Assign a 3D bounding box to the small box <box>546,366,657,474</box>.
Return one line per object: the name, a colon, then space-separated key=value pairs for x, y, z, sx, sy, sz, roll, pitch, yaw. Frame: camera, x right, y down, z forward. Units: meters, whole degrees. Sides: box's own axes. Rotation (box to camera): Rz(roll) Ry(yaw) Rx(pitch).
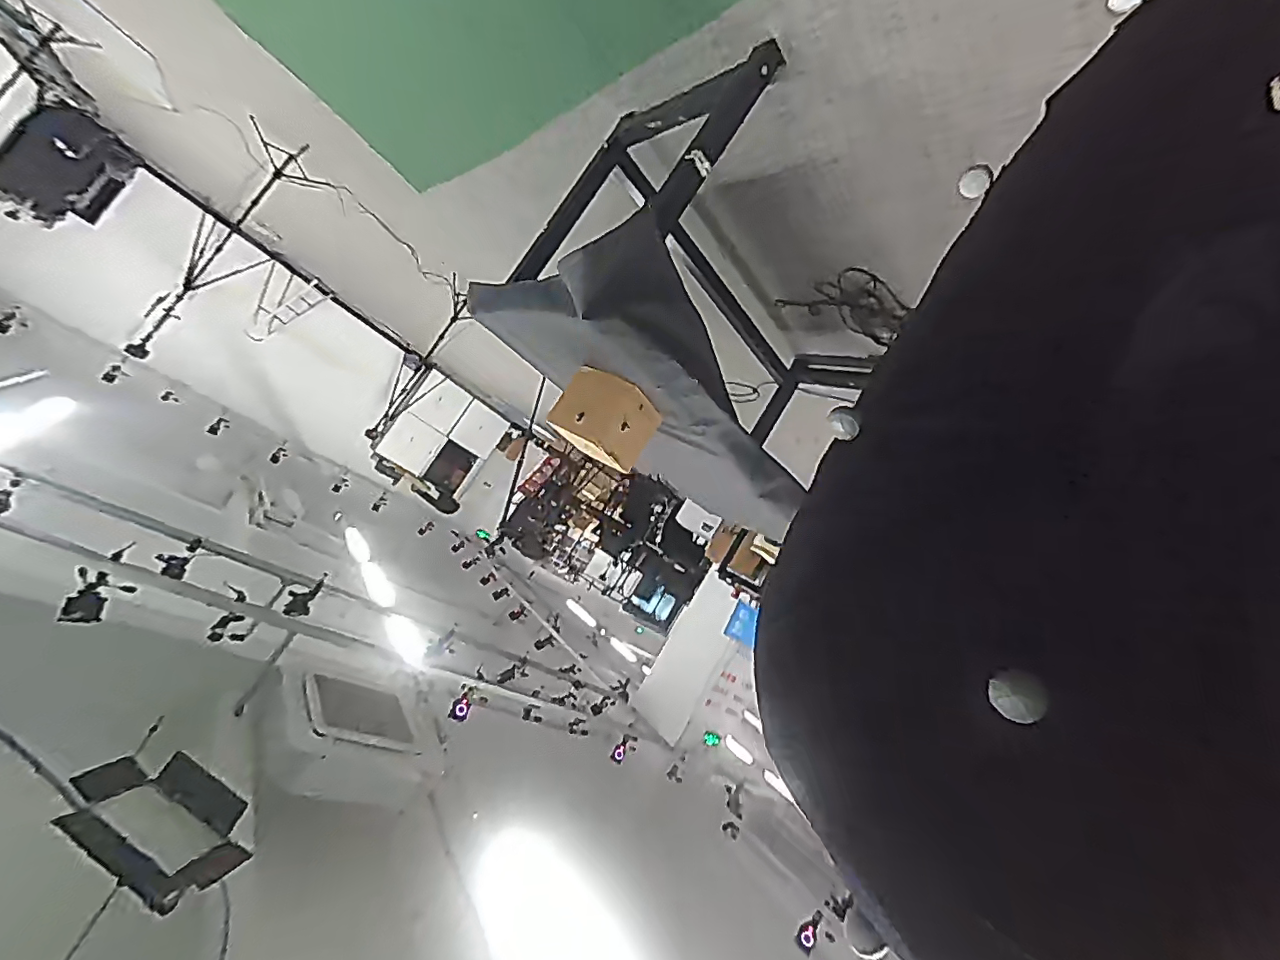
small box: x=-0.081 y=-0.146 z=1.288 sx=0.179 sy=0.176 sz=0.168 roll=29 pitch=170 yaw=33
